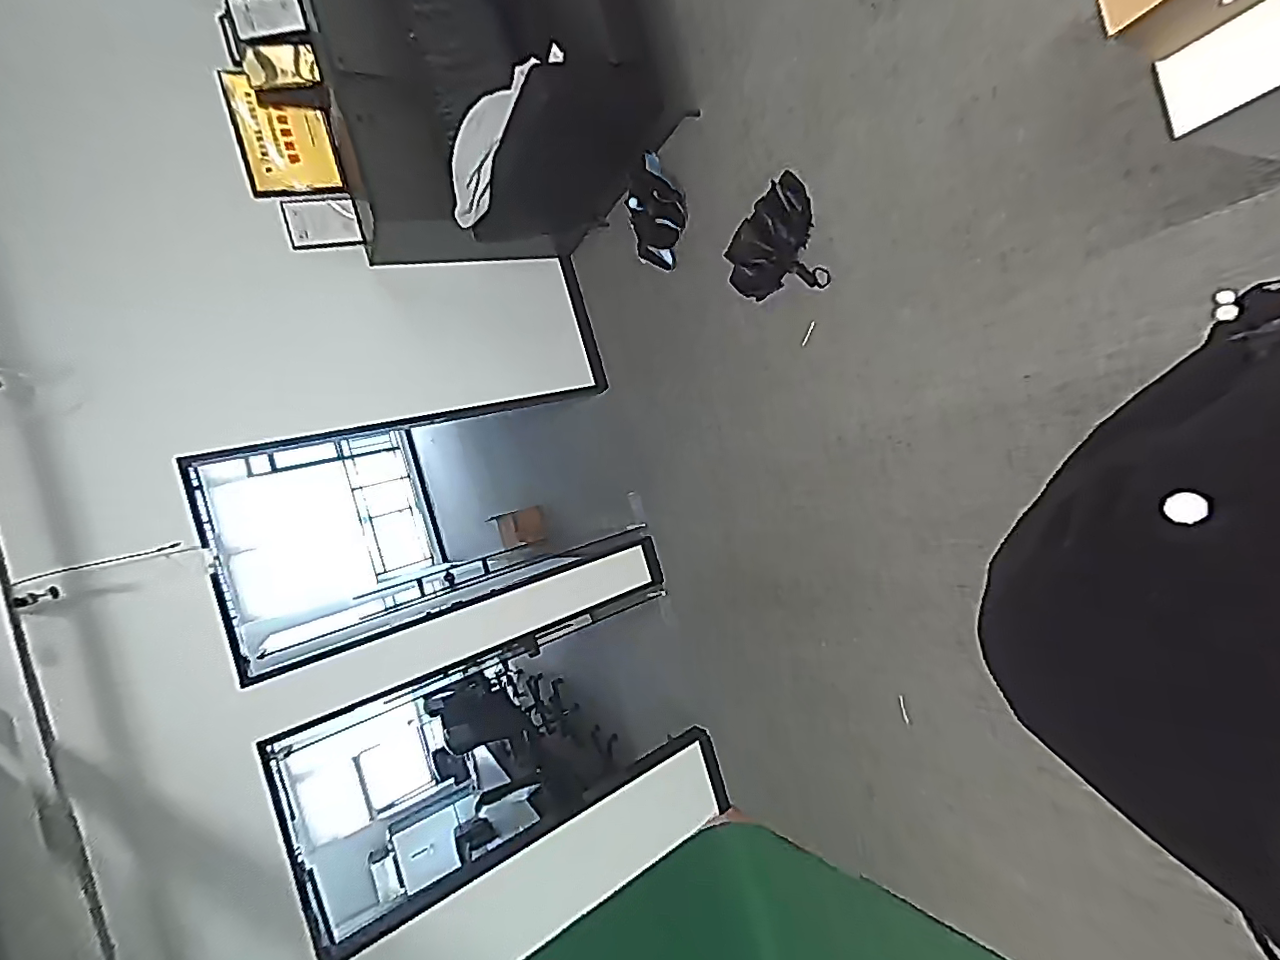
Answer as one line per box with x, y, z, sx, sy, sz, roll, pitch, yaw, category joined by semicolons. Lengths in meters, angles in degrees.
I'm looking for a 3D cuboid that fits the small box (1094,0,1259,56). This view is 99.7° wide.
0.599;-0.592;0.560;0.179;0.176;0.168;-15;91;60;small box
